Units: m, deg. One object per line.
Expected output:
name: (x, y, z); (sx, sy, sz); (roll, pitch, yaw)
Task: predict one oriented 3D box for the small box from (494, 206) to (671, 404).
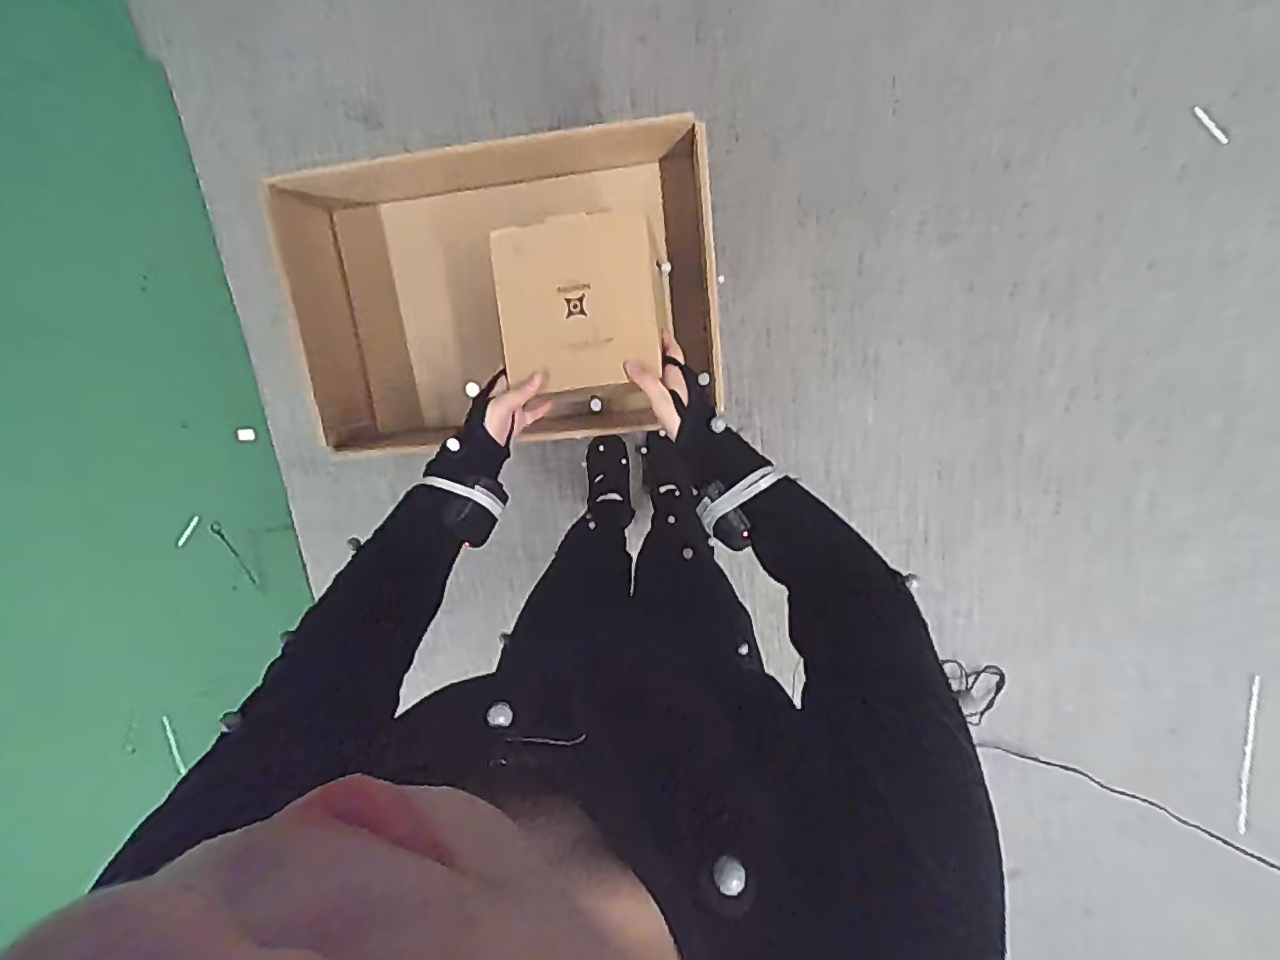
small box: (-0.056, -0.189, 0.637); (0.168, 0.176, 0.179); (-5, 94, 8)
